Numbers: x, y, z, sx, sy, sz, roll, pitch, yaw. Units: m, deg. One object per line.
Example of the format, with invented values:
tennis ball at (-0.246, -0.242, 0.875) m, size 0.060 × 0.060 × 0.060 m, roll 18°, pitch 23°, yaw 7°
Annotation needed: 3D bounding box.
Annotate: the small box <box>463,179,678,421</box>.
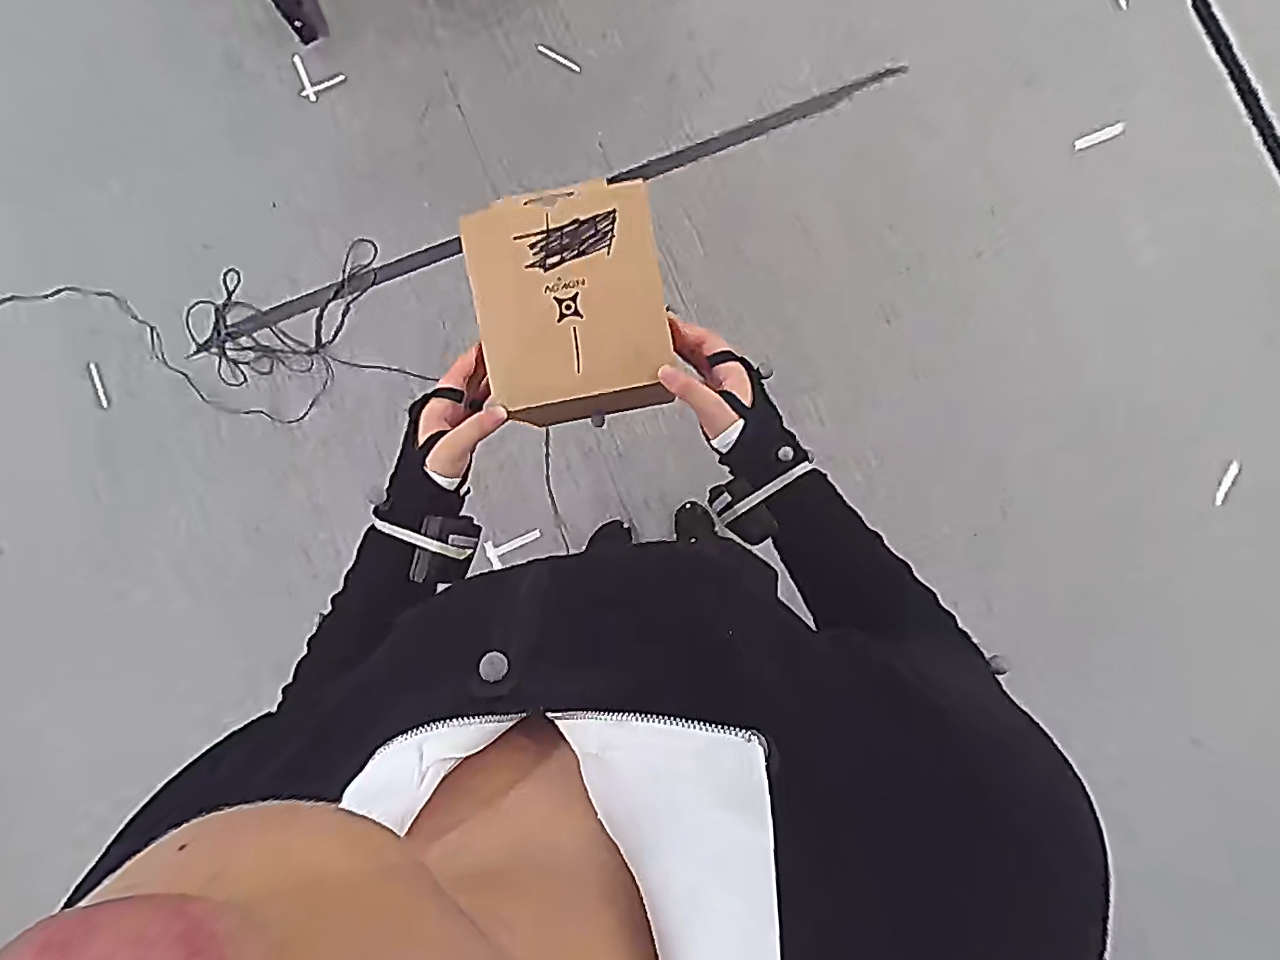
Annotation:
small box at (-0.059, -0.165, 0.553) m, size 0.168 × 0.176 × 0.179 m, roll -11°, pitch 92°, yaw 3°
